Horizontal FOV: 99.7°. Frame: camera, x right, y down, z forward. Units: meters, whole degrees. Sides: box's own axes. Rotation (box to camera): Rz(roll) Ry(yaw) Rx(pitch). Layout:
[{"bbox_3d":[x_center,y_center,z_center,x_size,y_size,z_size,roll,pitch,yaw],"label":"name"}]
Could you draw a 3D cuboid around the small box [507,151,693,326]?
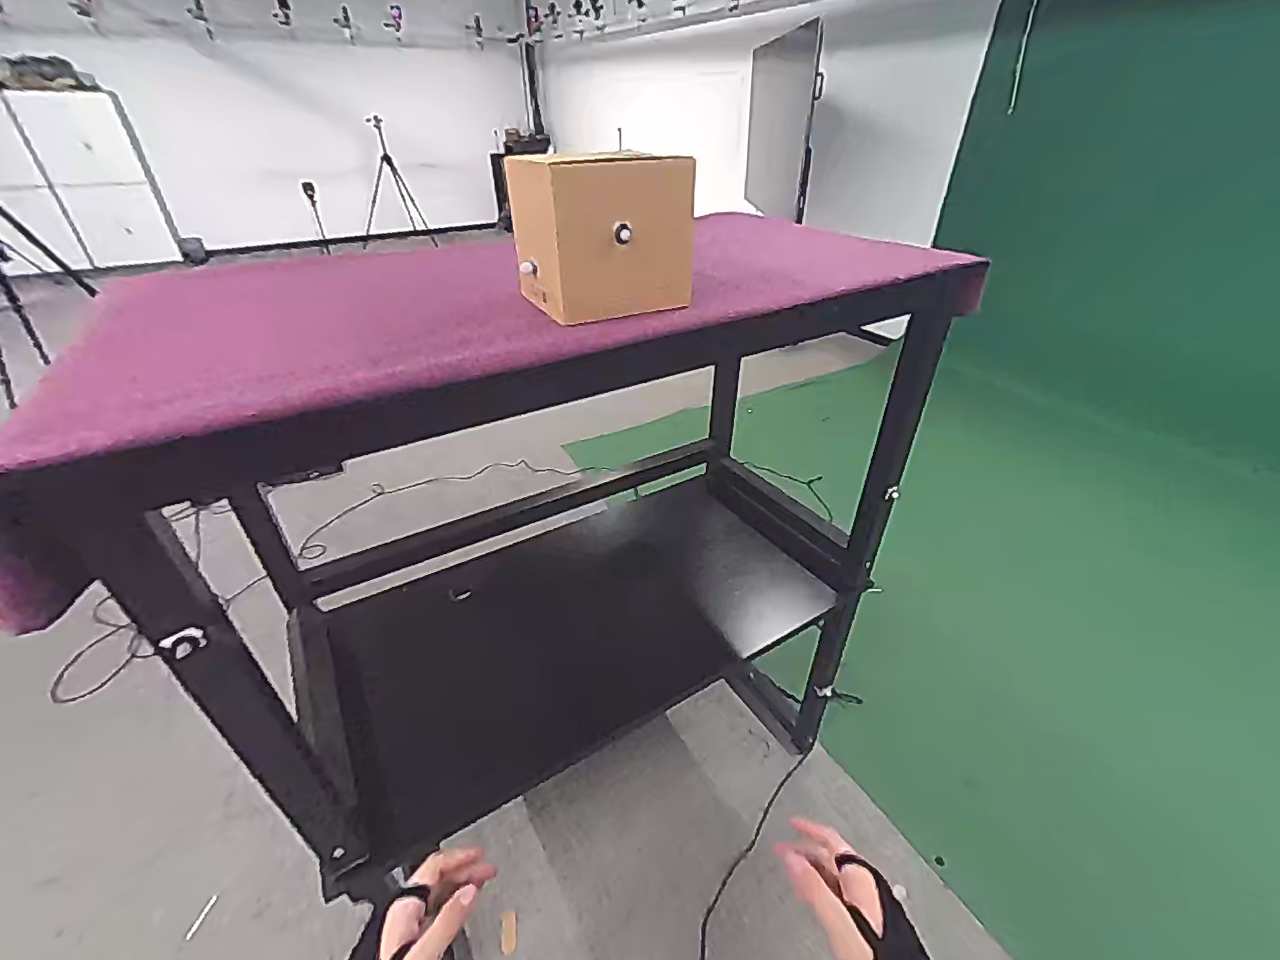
[{"bbox_3d":[-0.051,-0.308,0.679,0.179,0.176,0.168,-17,36,-21],"label":"small box"}]
